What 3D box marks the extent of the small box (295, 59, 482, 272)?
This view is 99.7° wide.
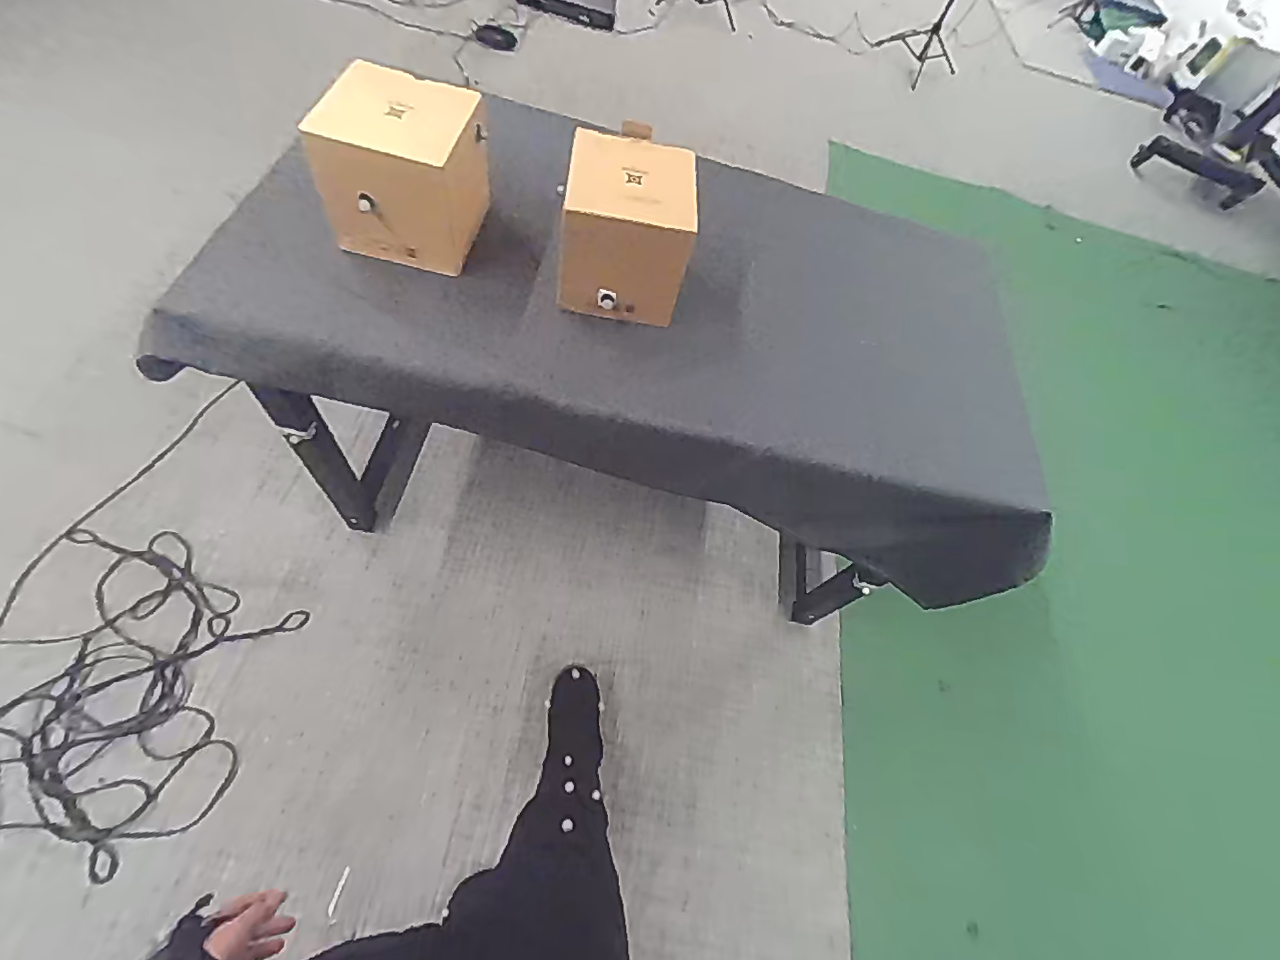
[{"bbox_3d":[-0.316,-0.414,0.729,0.168,0.176,0.179,11,59,-6],"label":"small box"}]

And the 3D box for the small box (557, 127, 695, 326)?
[{"bbox_3d":[-0.025,-0.348,0.758,0.168,0.176,0.179,5,61,-8],"label":"small box"}]
